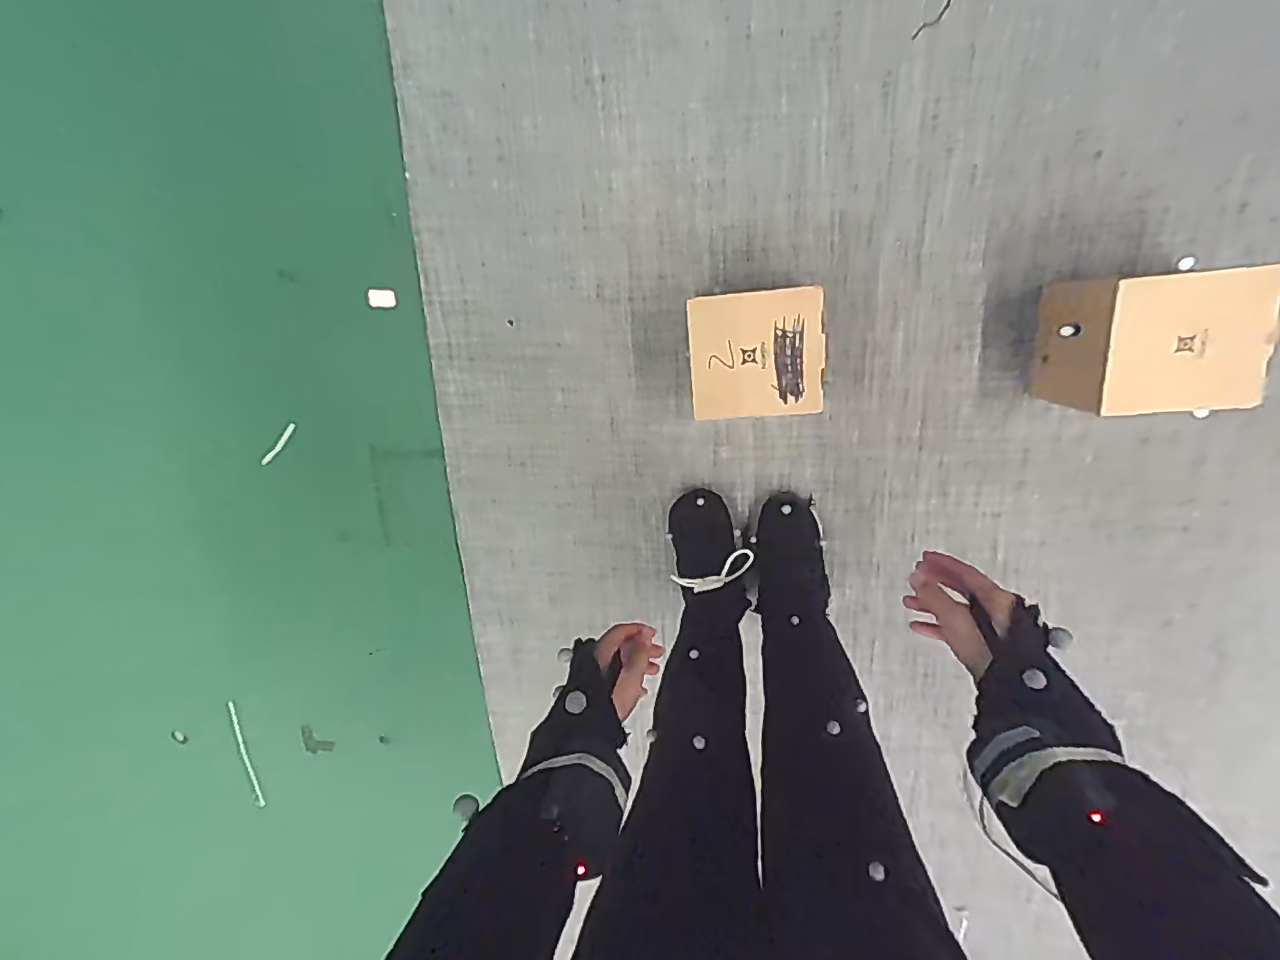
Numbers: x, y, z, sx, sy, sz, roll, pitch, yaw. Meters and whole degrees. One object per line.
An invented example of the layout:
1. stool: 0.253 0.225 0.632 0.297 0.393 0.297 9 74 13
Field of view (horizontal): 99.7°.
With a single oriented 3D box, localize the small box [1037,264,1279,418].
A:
1. small box: 0.660 -0.179 0.707 0.179 0.176 0.168 -4 106 9
